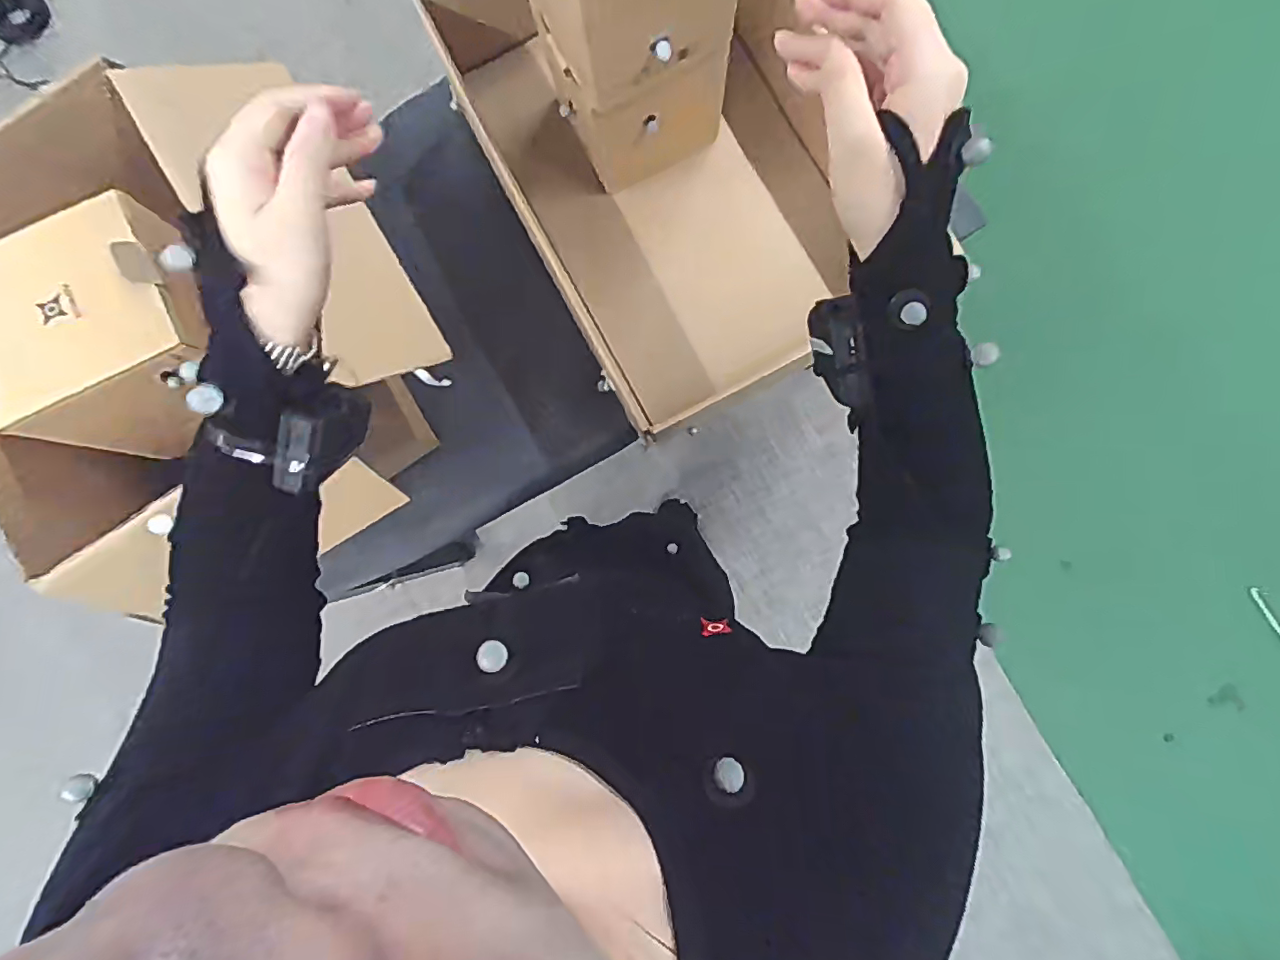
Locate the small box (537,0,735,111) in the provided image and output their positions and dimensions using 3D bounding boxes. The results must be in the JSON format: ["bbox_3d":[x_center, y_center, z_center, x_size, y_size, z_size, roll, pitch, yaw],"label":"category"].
[{"bbox_3d":[-0.016,-0.511,0.513,0.168,0.176,0.179,-28,88,2],"label":"small box"}]
